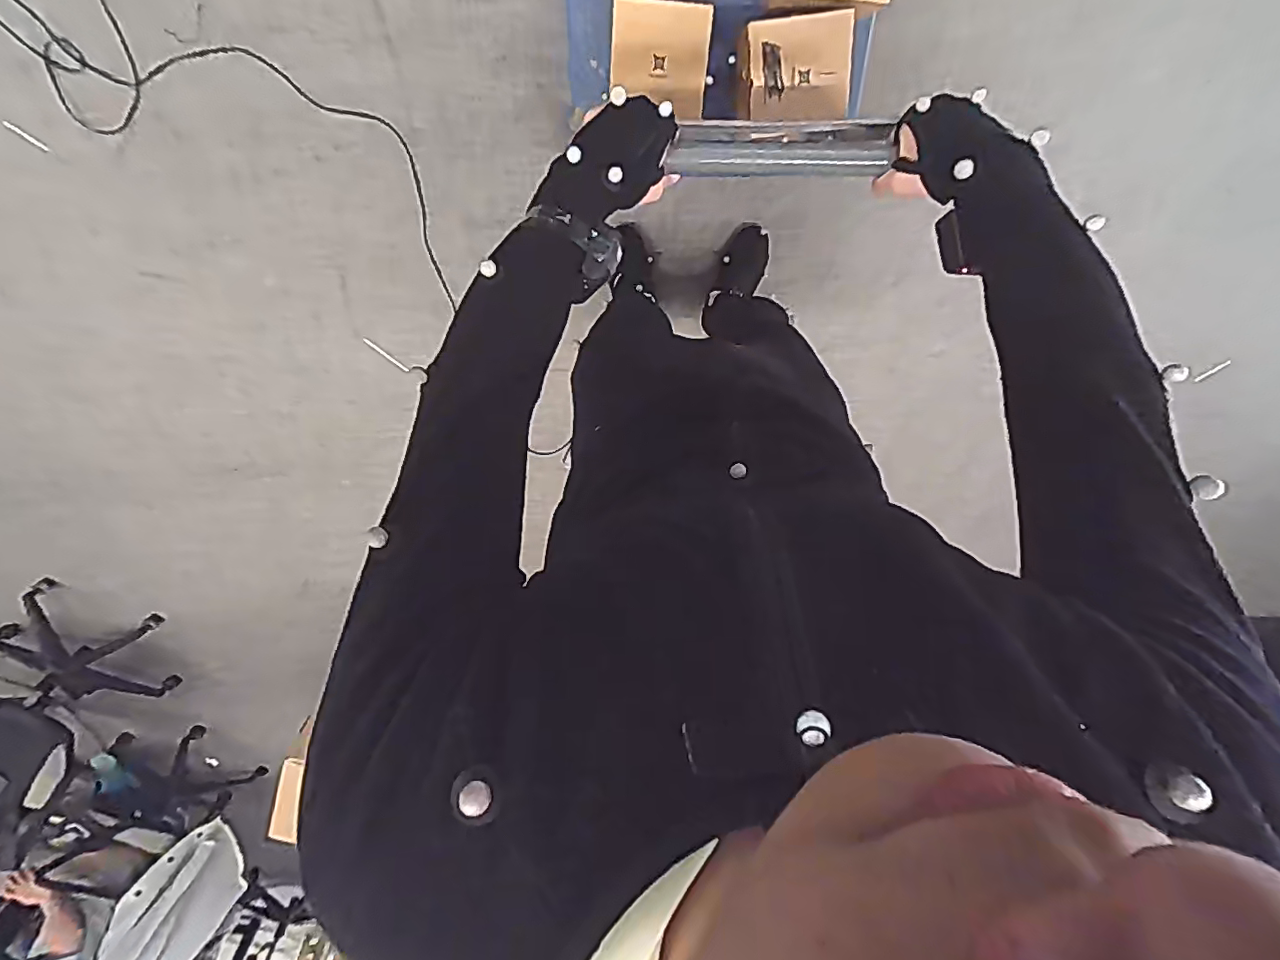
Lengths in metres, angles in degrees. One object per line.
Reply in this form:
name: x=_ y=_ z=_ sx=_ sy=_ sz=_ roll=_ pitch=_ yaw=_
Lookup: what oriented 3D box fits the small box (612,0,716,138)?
small box: x=0.036 y=-0.739 z=0.991 sx=0.168 sy=0.176 sz=0.179 roll=3 pitch=122 yaw=-3
